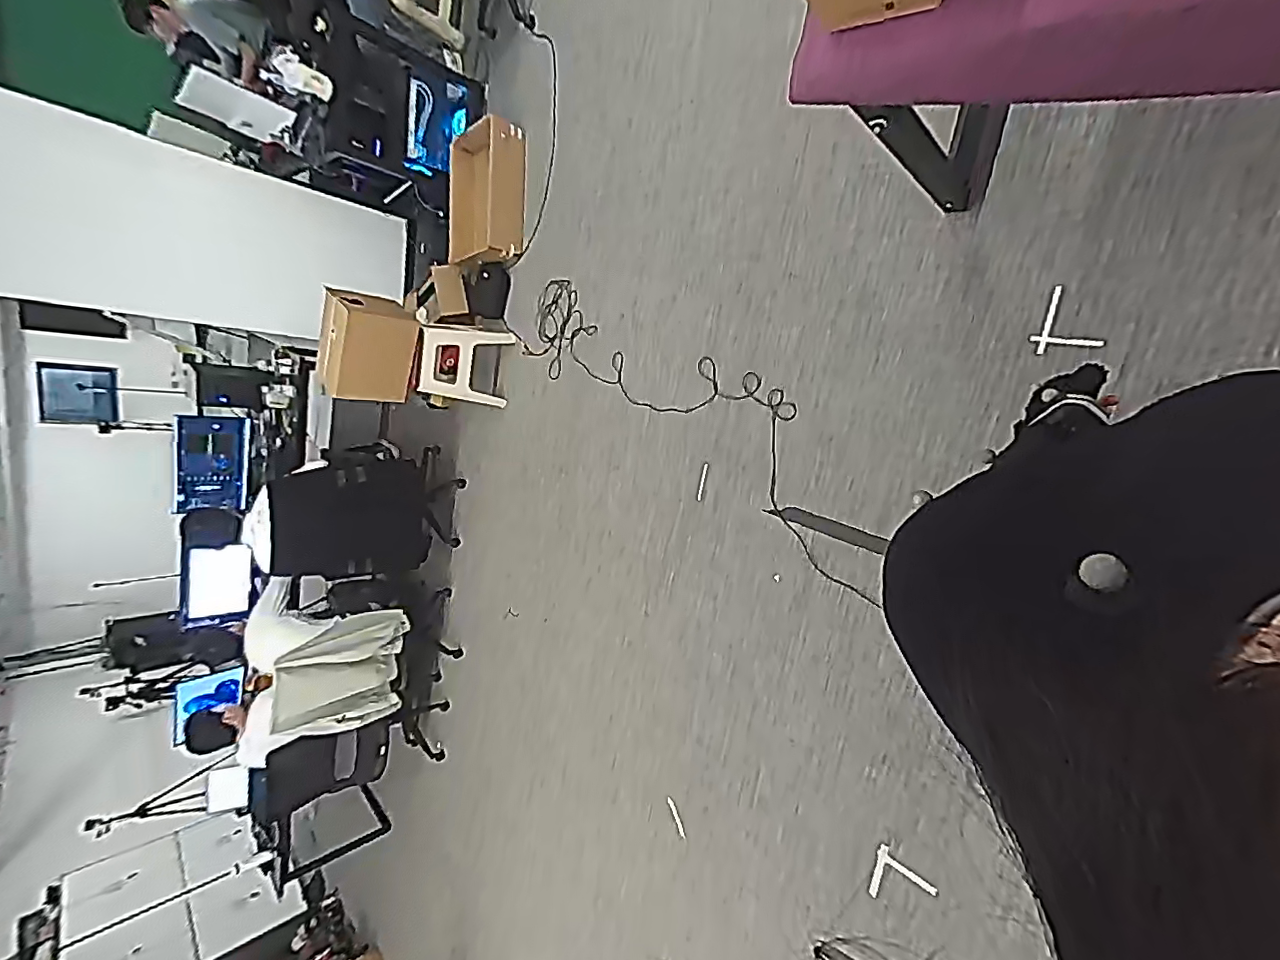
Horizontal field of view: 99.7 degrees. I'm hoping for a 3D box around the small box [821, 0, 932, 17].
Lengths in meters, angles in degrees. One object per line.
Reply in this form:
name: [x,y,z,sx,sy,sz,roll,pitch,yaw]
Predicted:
small box: [0.315,-0.743,0.692,0.168,0.176,0.179,22,105,38]
